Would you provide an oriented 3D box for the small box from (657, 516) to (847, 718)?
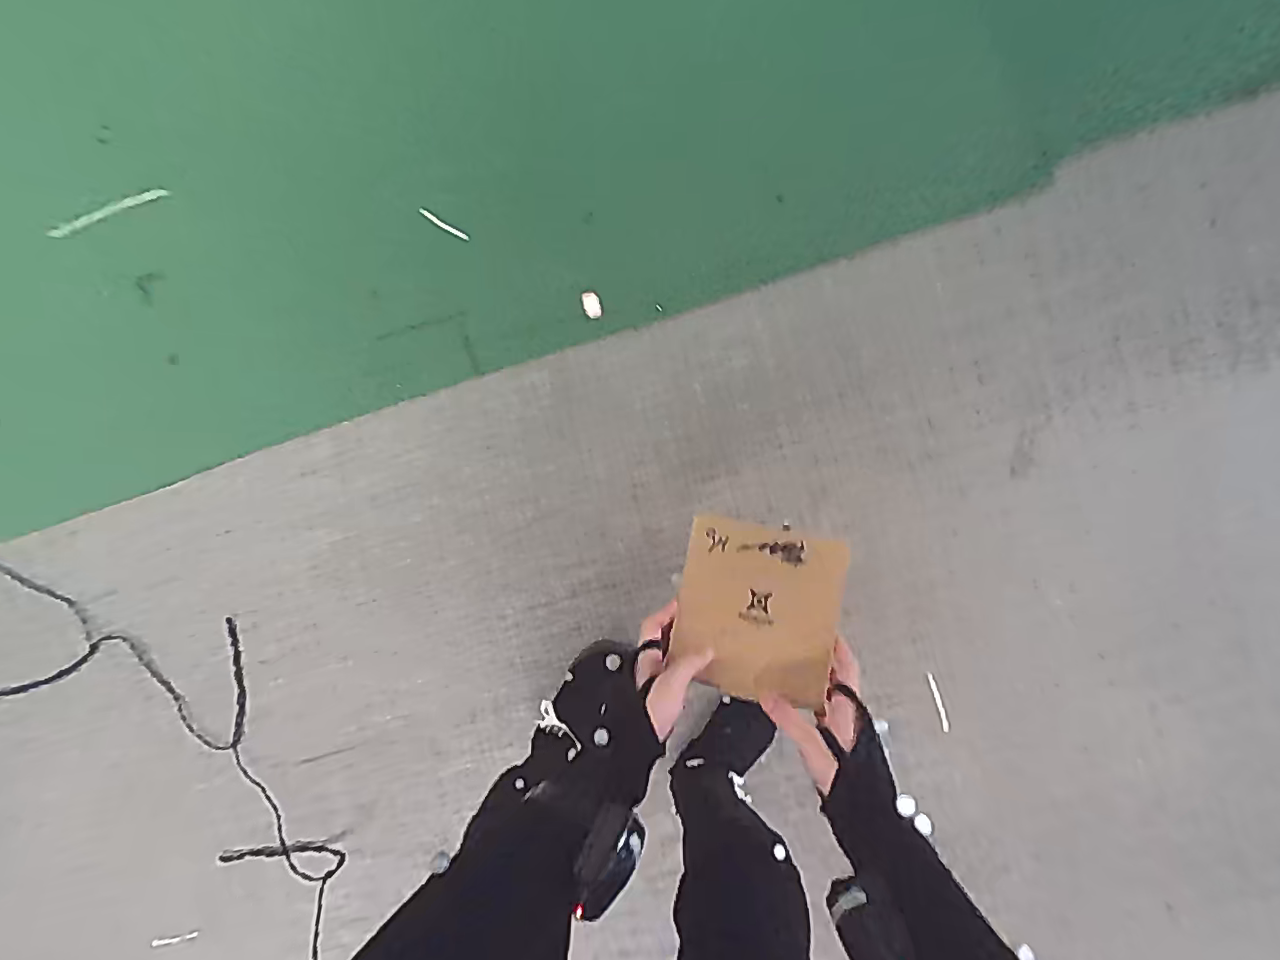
[{"bbox_3d":[0.123,0.143,0.629,0.168,0.176,0.179,11,87,8],"label":"small box"}]
